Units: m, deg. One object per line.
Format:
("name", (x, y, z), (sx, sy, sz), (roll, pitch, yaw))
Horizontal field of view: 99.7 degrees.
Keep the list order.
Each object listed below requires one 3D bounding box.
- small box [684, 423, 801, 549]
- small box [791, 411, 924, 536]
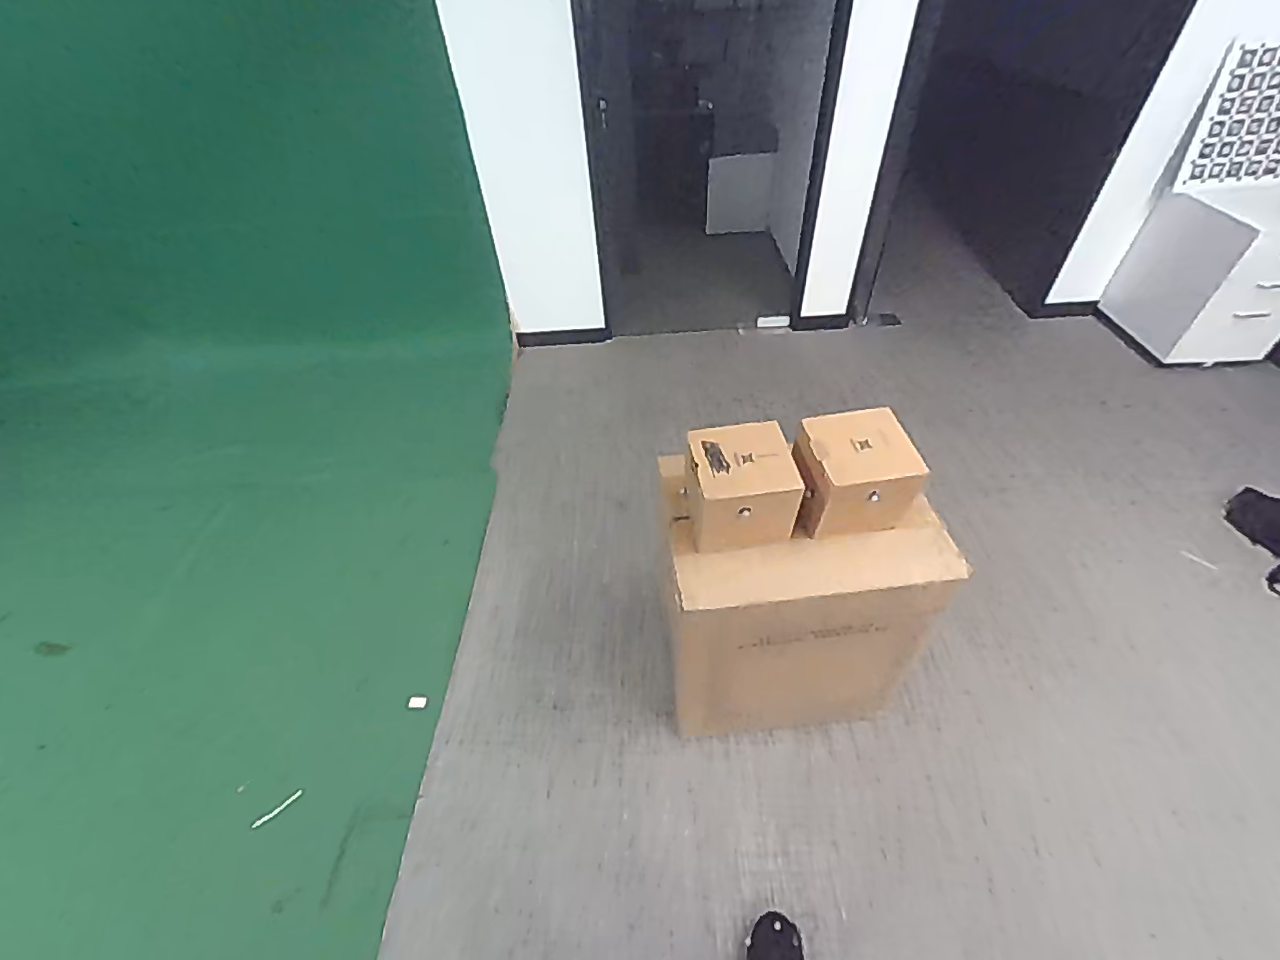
("small box", (0.182, 0.016, 1.018), (0.179, 0.176, 0.168), (-7, 51, -4))
("small box", (0.394, -0.008, 1.030), (0.179, 0.176, 0.168), (-7, 52, -5))
